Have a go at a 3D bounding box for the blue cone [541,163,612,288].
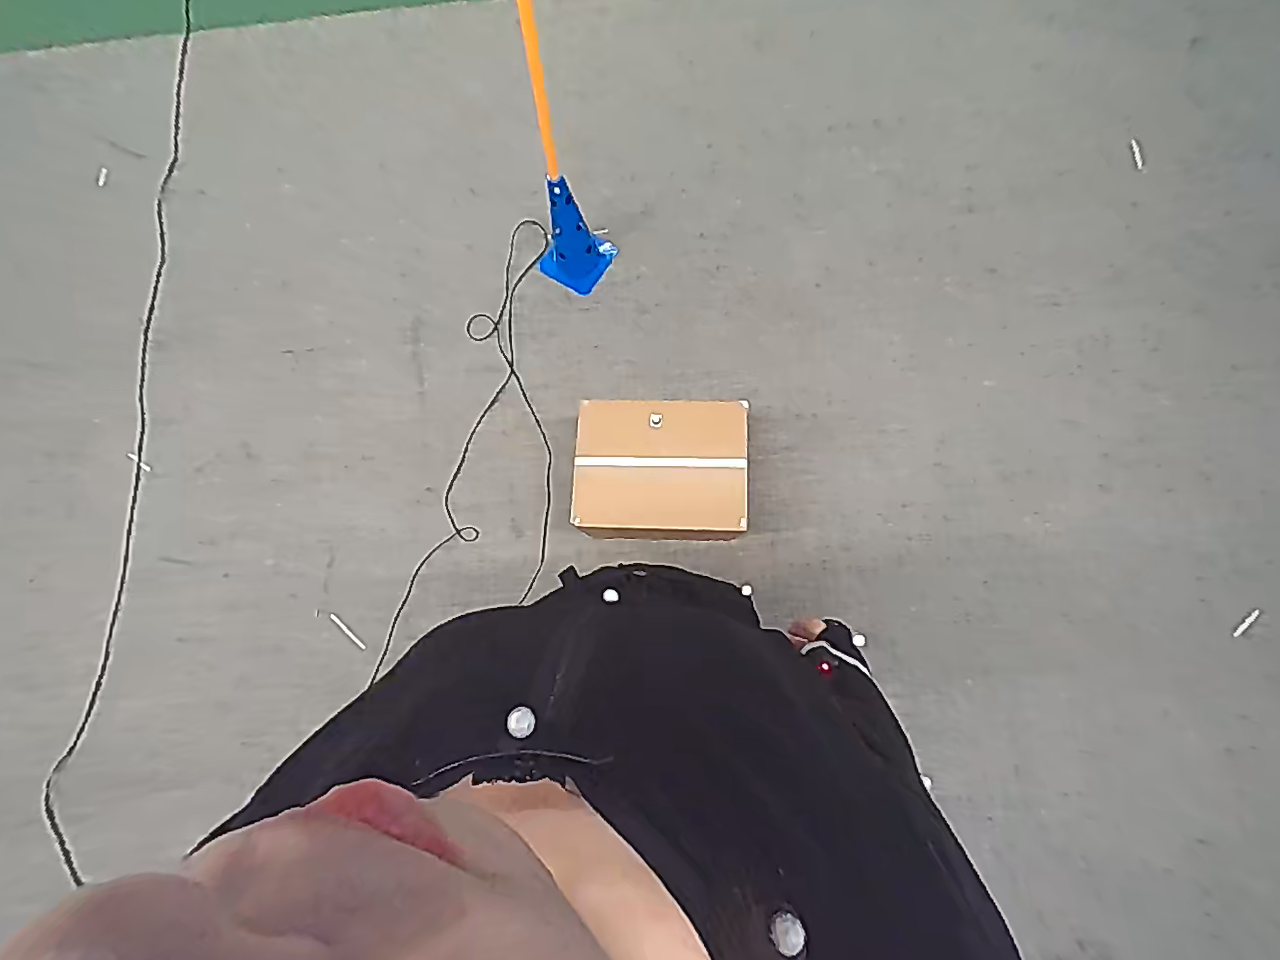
[{"bbox_3d":[-0.208,-0.747,1.542,0.192,0.380,0.193,29,80,8],"label":"blue cone"}]
